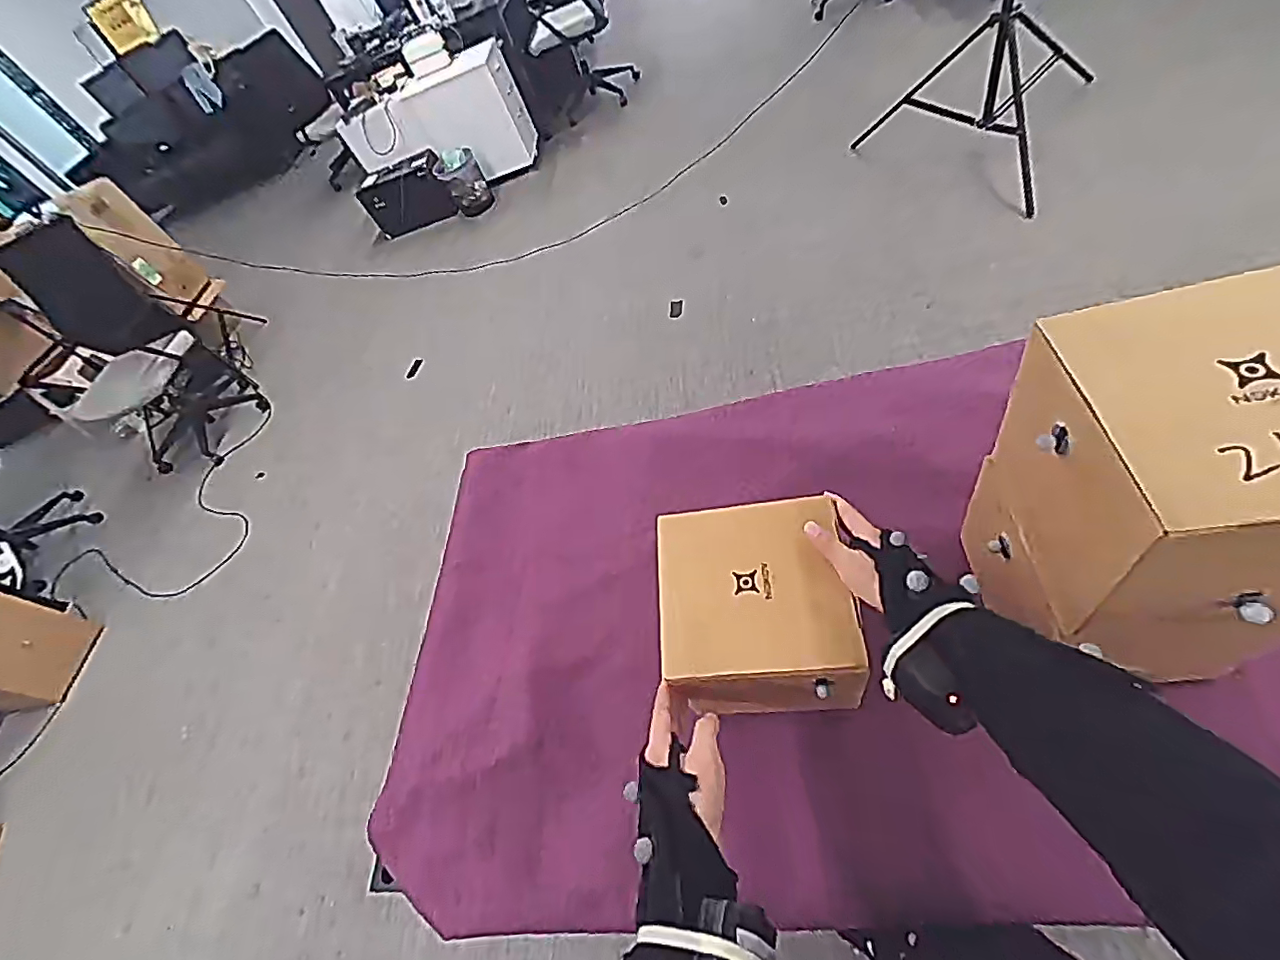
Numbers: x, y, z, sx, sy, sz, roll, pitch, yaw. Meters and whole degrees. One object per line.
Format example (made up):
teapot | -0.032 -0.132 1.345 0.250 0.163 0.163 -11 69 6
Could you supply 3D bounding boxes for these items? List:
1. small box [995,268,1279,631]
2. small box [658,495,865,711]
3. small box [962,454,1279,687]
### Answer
small box | 0.377 -0.012 0.377 0.168 0.176 0.179 -10 53 16
small box | 0.122 0.137 0.566 0.179 0.176 0.168 -8 55 11
small box | 0.424 0.080 0.506 0.168 0.176 0.179 -10 54 16
